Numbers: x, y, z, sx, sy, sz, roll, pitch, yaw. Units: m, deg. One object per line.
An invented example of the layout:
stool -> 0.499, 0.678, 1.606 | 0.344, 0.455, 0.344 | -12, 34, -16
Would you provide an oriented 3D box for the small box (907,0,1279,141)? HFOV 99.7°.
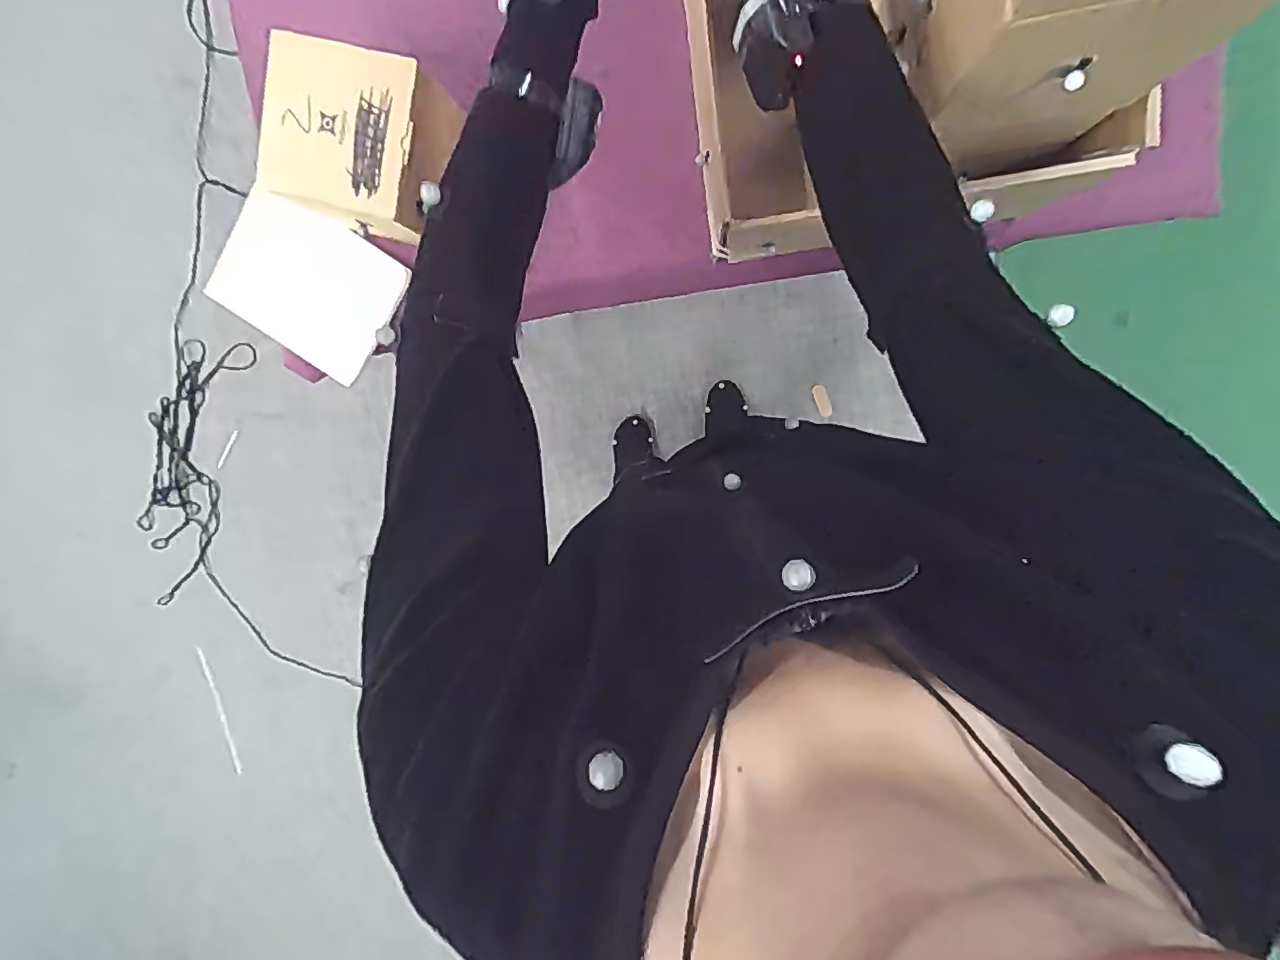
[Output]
small box -> 0.310, -0.376, 0.385 | 0.179, 0.176, 0.168 | -4, 98, 10
